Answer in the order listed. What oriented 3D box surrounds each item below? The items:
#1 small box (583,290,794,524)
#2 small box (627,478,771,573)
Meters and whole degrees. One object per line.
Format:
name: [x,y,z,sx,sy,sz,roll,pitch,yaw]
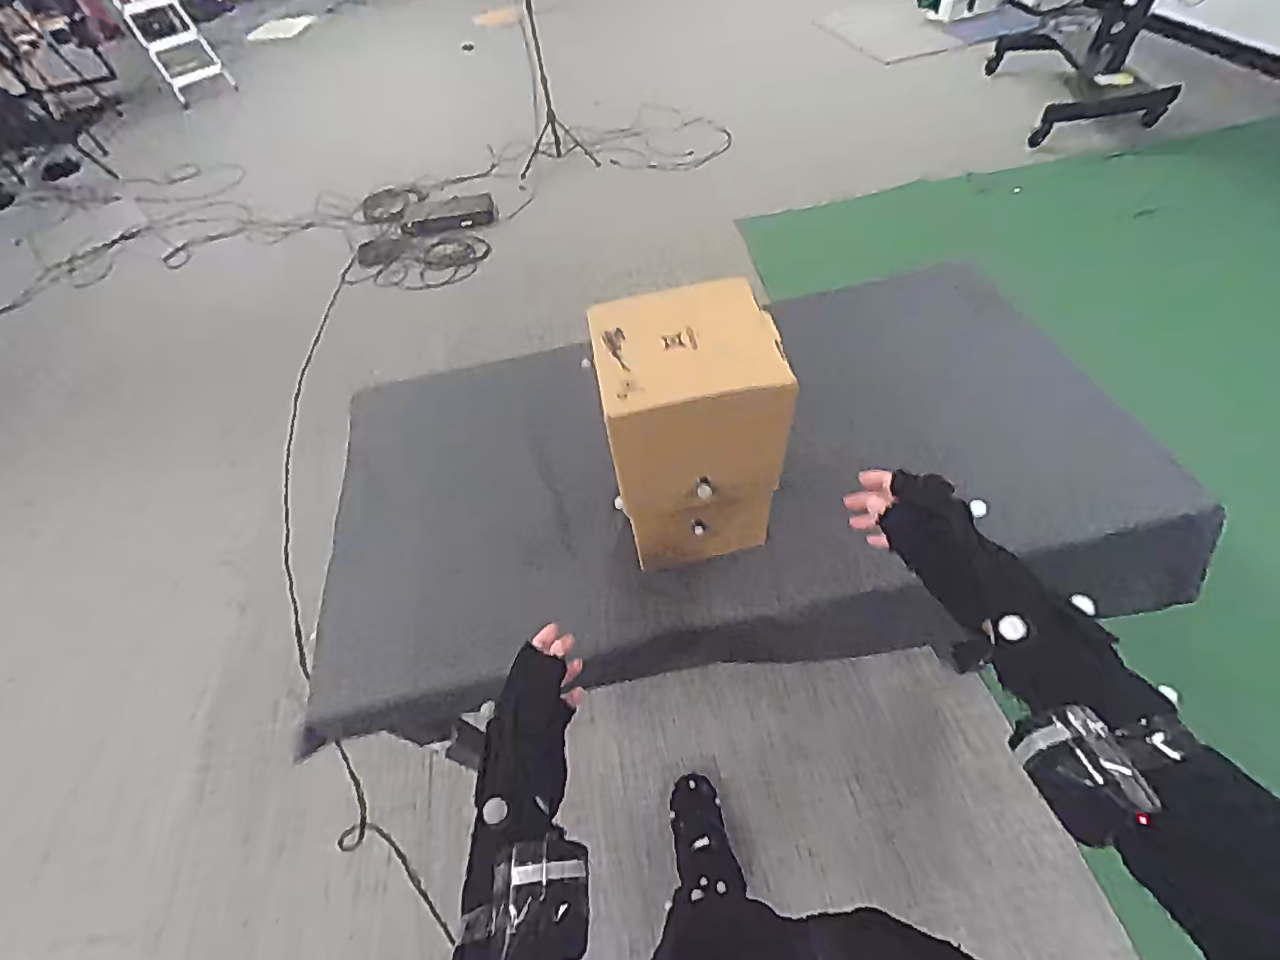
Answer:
small box: [0.047,-0.074,0.593,0.179,0.176,0.168,-13,54,-2]
small box: [0.062,0.005,0.733,0.179,0.176,0.168,-13,53,-1]
